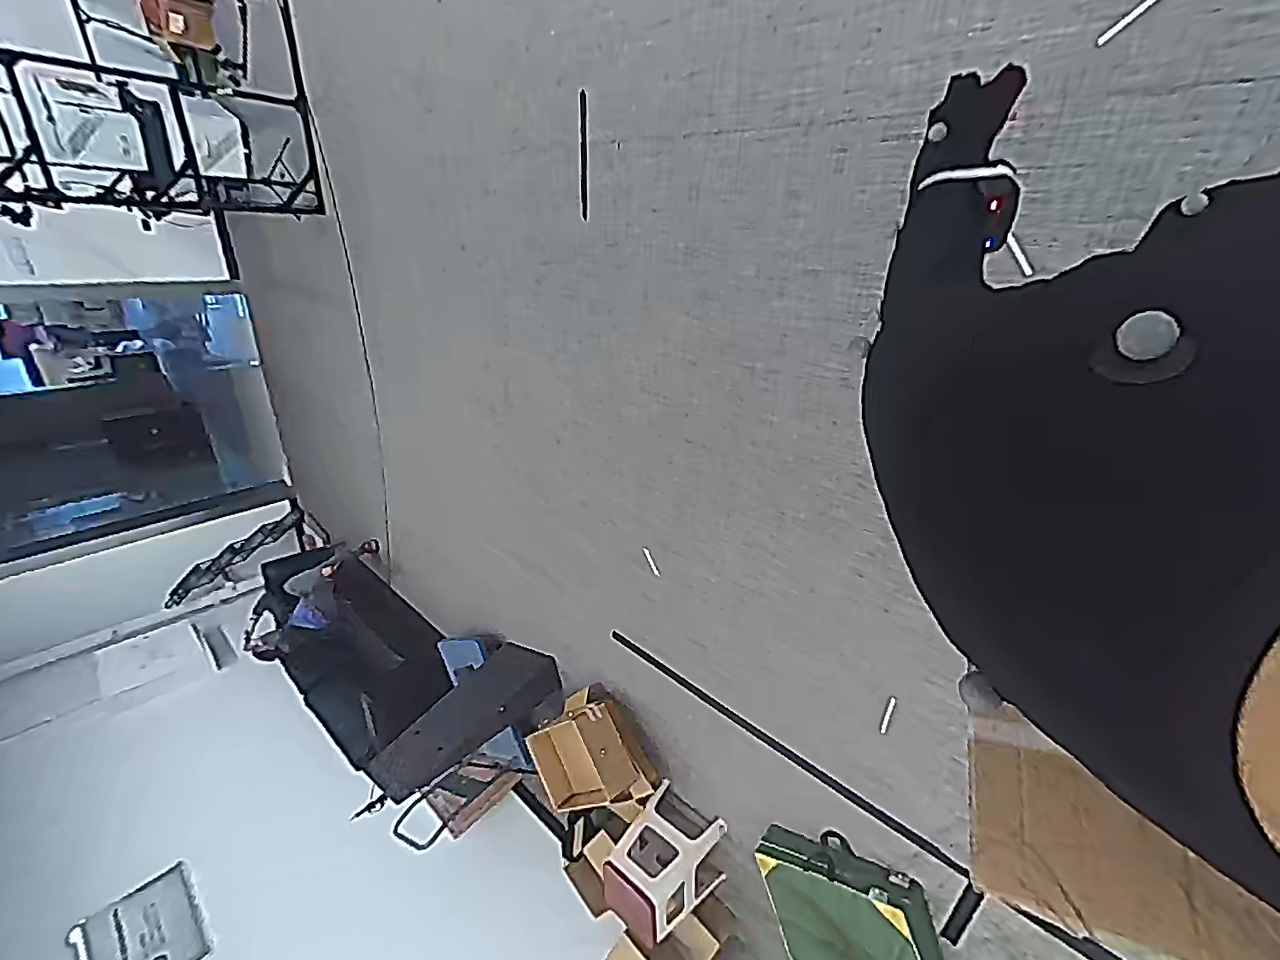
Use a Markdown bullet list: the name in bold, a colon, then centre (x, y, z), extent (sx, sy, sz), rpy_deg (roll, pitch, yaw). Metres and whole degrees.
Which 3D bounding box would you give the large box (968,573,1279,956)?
- **large box**: centre (0.621, 0.300, 0.584), extent (0.408, 0.320, 0.320), rpy_deg (-7, 61, 44)
